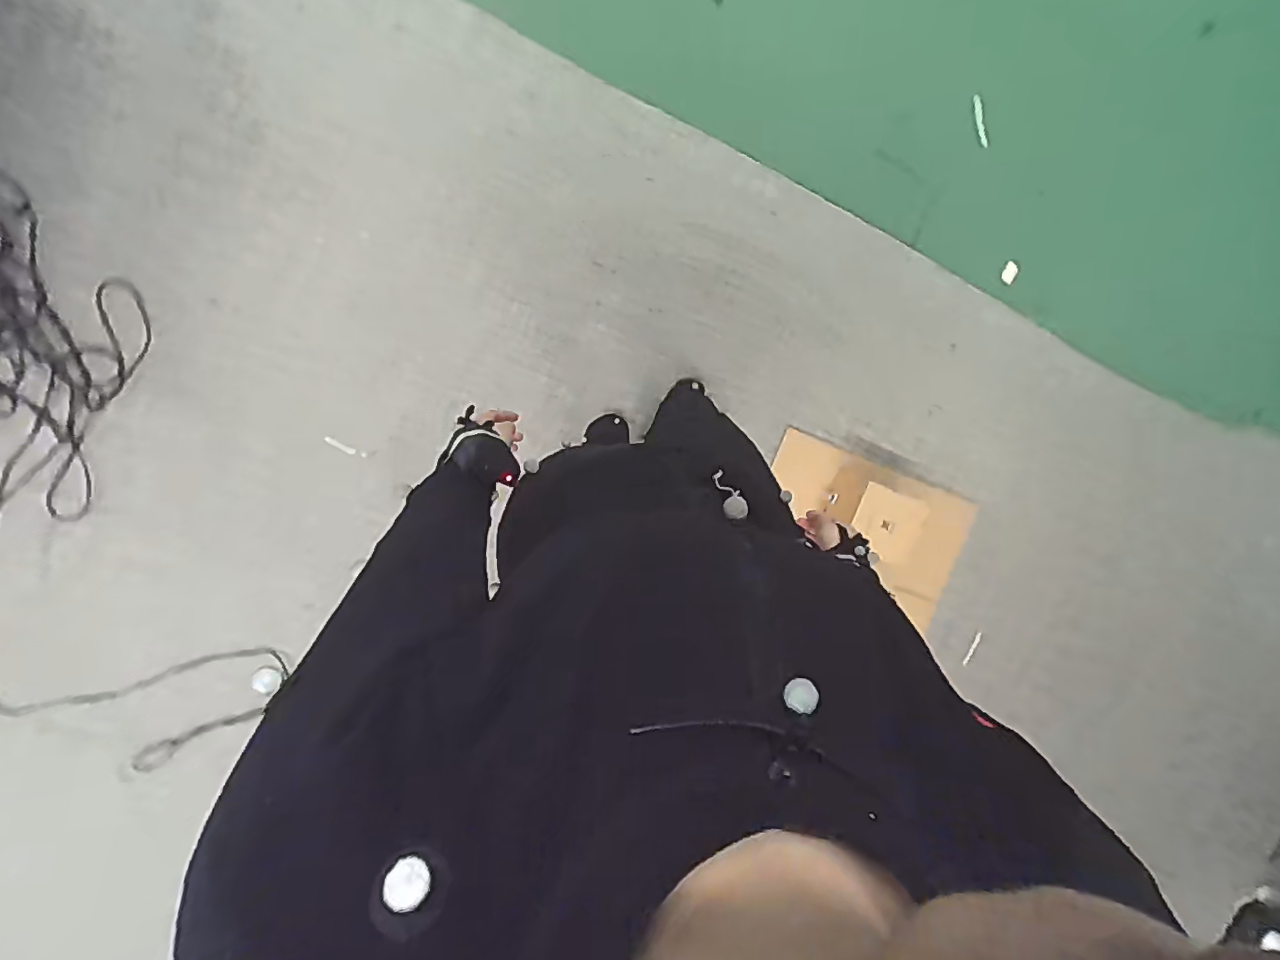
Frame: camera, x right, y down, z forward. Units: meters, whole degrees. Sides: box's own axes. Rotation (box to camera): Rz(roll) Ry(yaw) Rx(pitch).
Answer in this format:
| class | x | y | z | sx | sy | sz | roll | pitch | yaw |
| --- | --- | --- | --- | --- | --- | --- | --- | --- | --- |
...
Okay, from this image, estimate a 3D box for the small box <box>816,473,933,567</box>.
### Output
| class | x | y | z | sx | sy | sz | roll | pitch | yaw |
| --- | --- | --- | --- | --- | --- | --- | --- | --- | --- |
| small box | 0.574 | 0.091 | 1.344 | 0.179 | 0.176 | 0.168 | 21 | 95 | -9 |
